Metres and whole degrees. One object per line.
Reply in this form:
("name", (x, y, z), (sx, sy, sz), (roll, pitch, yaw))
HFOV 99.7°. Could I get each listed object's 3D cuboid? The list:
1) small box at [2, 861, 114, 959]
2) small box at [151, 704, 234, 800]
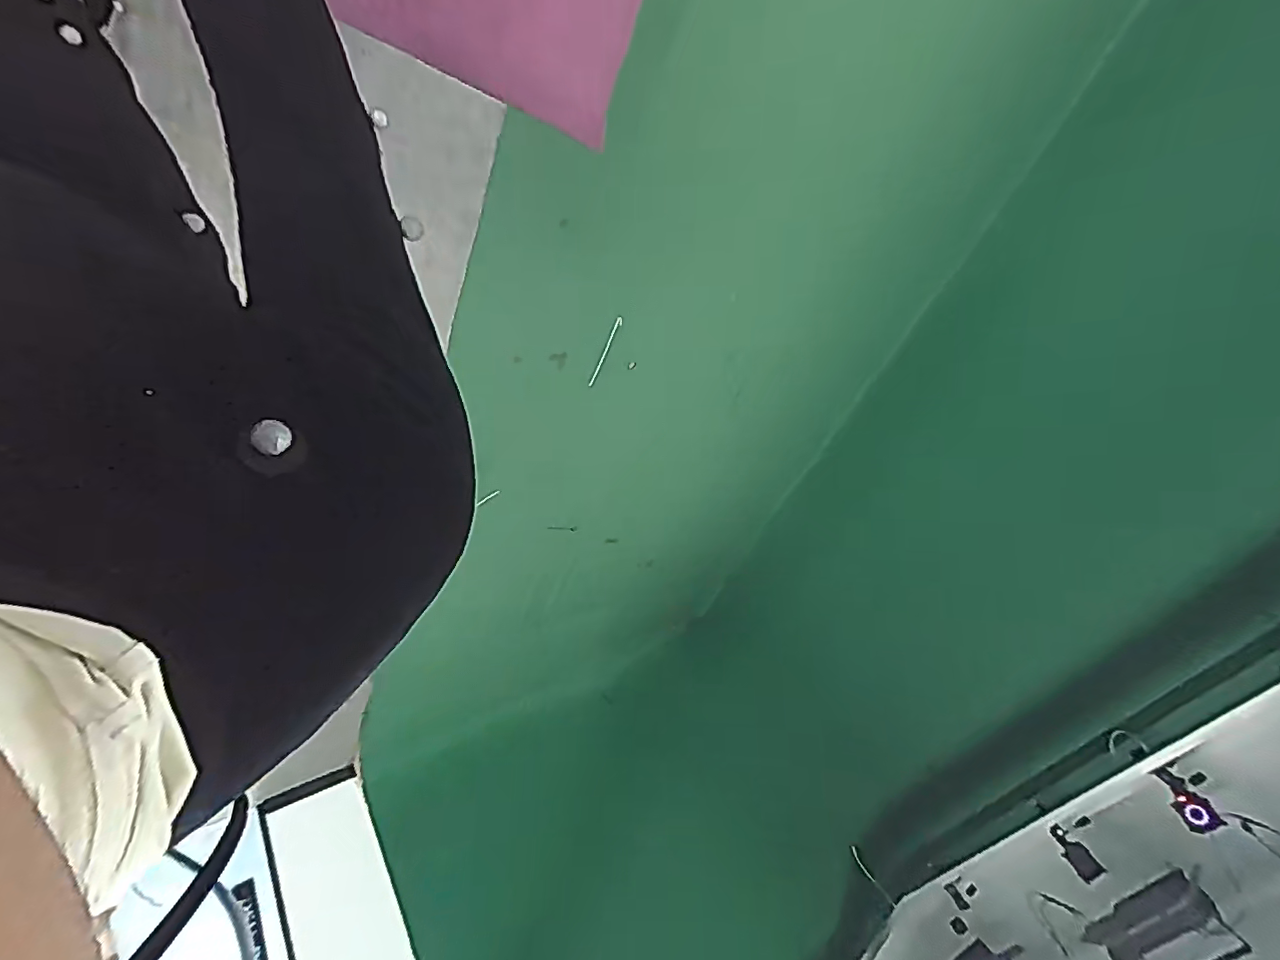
("small box", (-1.333, 1.025, 1.244), (0.168, 0.176, 0.179), (-4, 134, -43))
("small box", (-1.323, 0.795, 1.599), (0.179, 0.176, 0.168), (-4, 133, -42))
